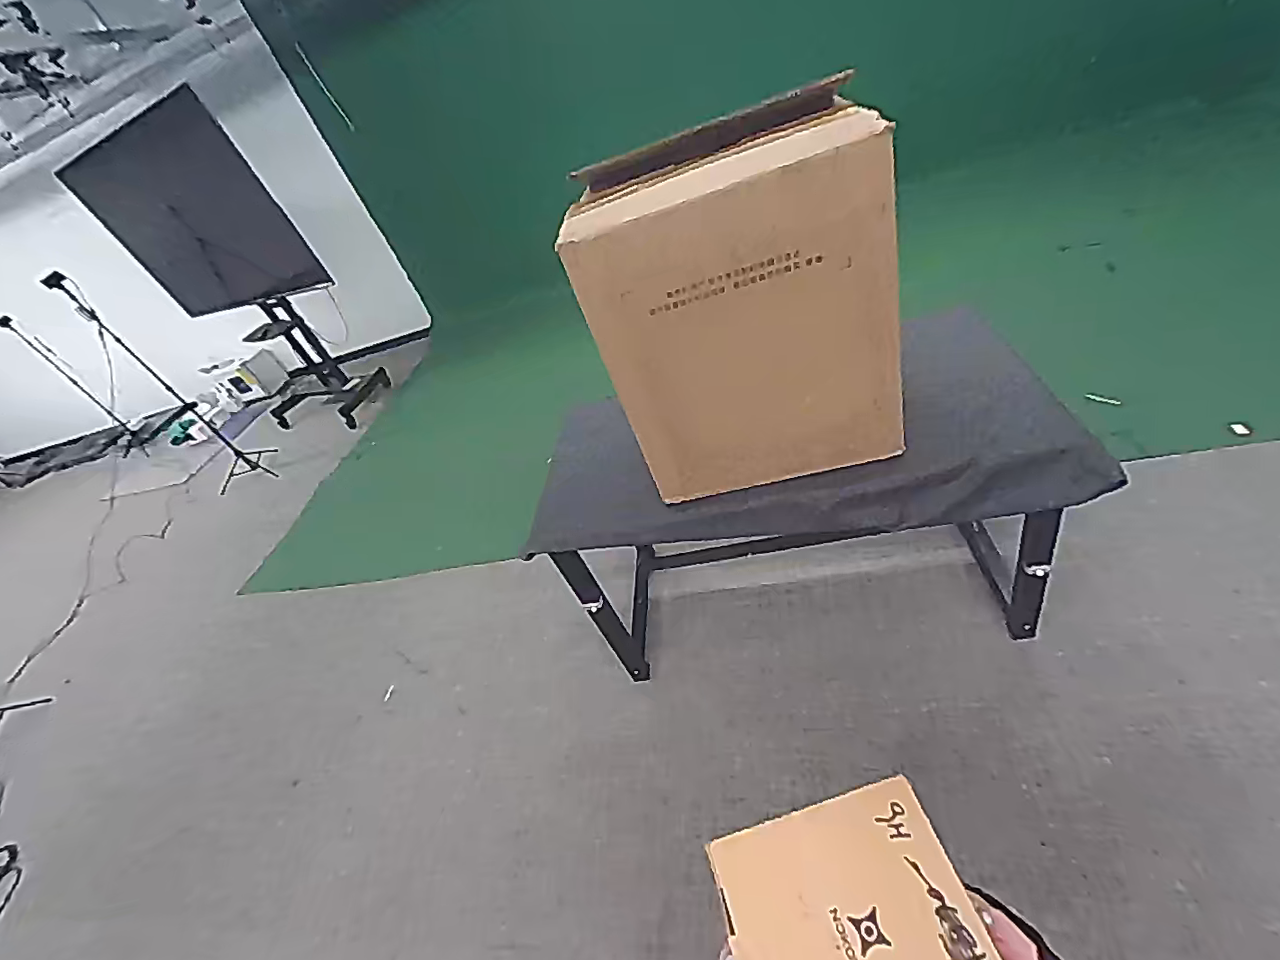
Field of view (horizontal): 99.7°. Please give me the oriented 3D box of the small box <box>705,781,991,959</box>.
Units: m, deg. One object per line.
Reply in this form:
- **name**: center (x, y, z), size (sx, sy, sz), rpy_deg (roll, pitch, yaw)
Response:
- **small box**: center (0.167, 0.382, 0.460), size (0.179, 0.176, 0.168), rpy_deg (-16, 52, -2)
